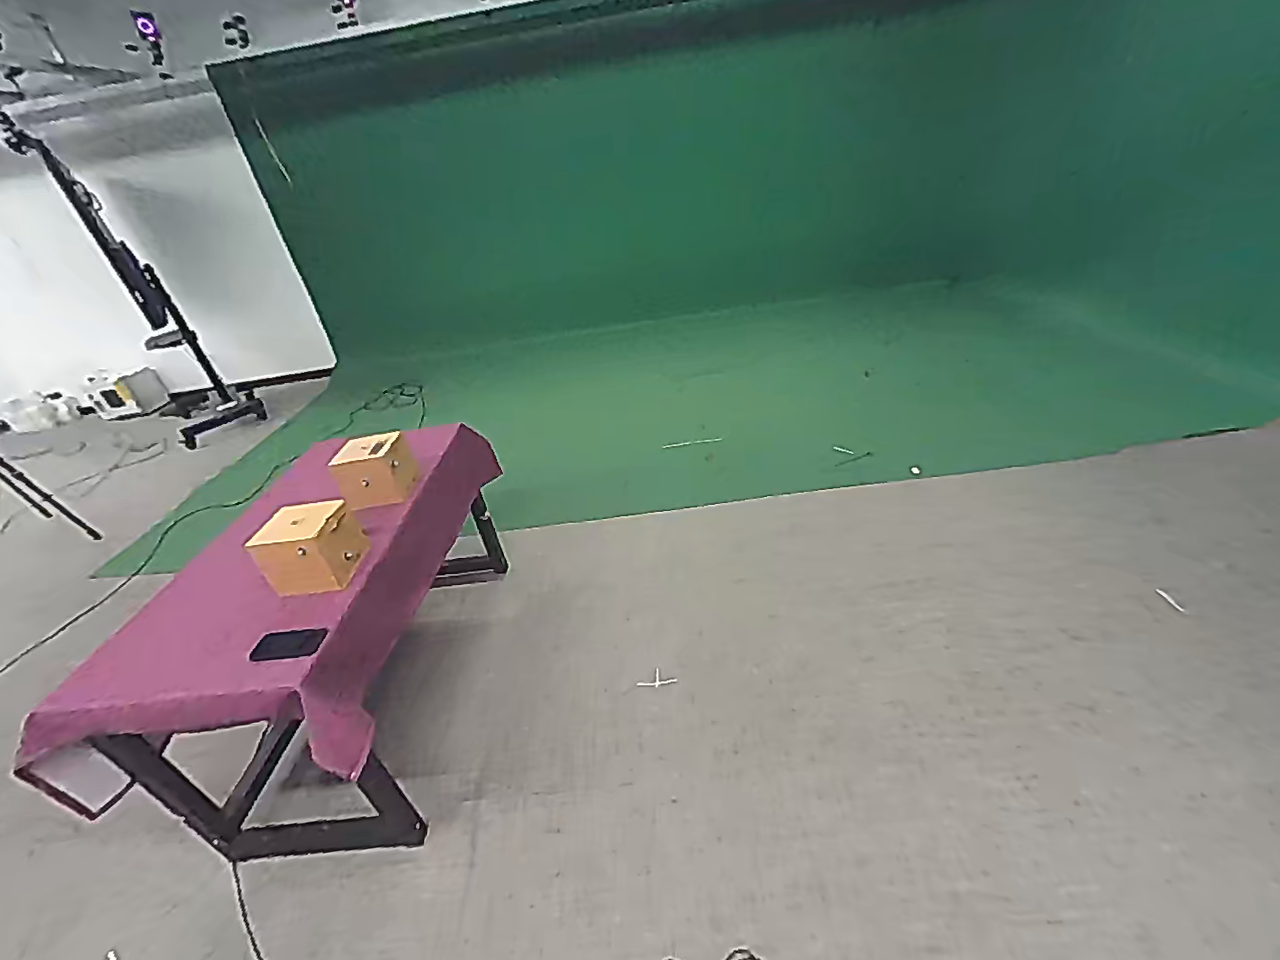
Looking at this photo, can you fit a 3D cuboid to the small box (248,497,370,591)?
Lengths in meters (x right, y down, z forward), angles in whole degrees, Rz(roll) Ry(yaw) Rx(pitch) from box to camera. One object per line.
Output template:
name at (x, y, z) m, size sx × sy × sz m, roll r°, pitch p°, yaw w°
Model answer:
small box at (-0.828, 0.164, 1.373) m, size 0.179 × 0.176 × 0.168 m, roll -6°, pitch 32°, yaw 4°
